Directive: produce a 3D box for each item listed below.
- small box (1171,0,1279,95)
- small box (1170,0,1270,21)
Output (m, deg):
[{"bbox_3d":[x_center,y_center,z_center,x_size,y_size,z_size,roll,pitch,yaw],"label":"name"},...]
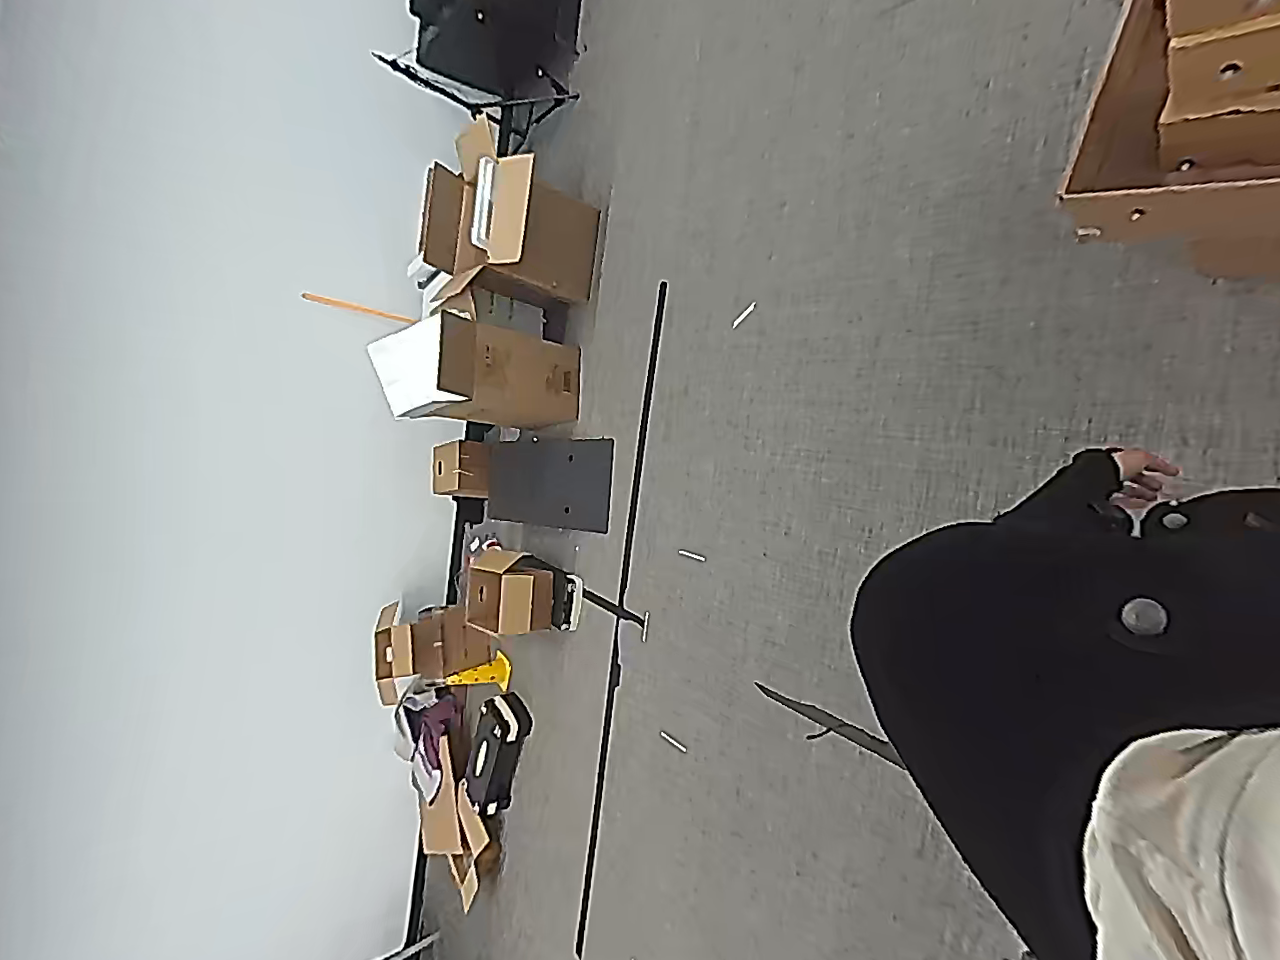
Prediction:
[{"bbox_3d":[0.824,-0.630,0.688,0.168,0.176,0.179,23,102,45],"label":"small box"},{"bbox_3d":[0.707,-0.650,0.574,0.179,0.176,0.168,21,101,45],"label":"small box"}]
